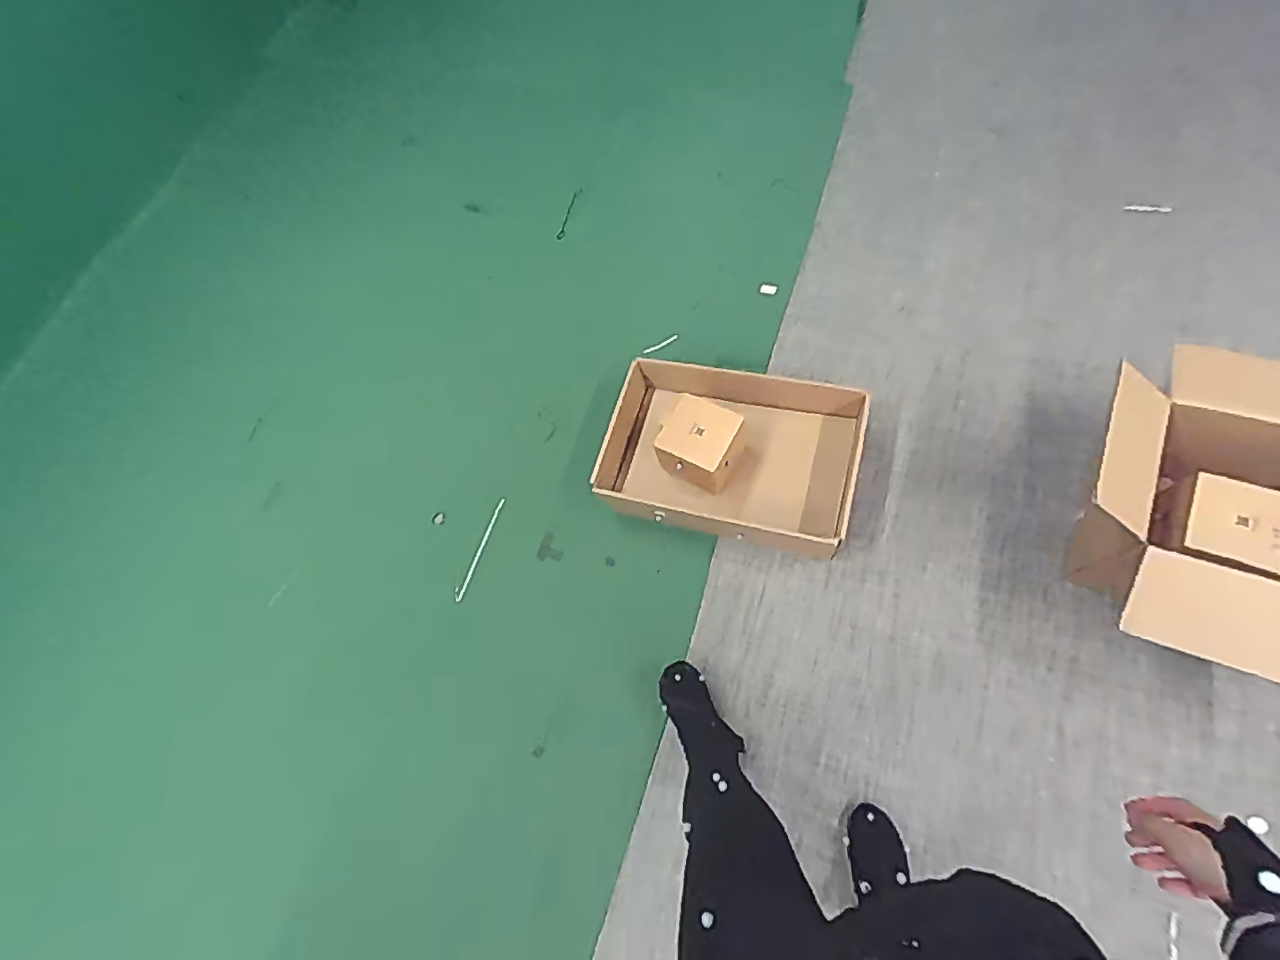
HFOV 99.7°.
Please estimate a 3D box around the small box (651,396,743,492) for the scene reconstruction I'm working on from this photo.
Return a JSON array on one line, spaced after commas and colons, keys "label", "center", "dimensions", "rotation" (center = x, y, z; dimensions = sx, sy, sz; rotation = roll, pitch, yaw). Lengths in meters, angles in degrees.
[{"label": "small box", "center": [0.155, -0.086, 1.409], "dimensions": [0.179, 0.176, 0.168], "rotation": [26, 75, 20]}]
